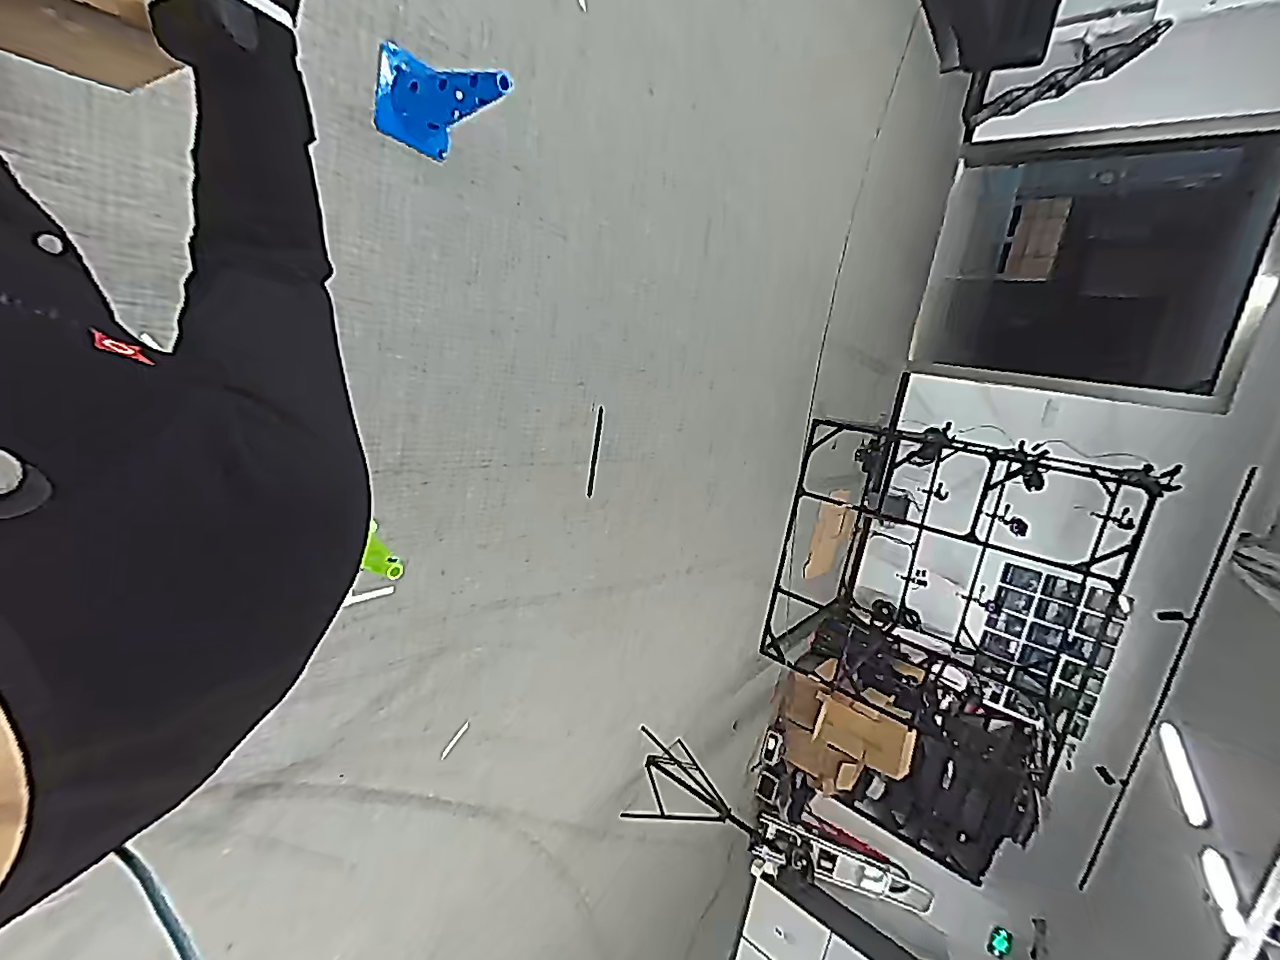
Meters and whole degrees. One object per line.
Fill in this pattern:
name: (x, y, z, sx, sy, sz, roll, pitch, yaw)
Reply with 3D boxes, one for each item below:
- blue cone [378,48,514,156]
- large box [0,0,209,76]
blue cone: (-0.444, -0.920, 1.293, 0.192, 0.380, 0.193, 0, 105, -55)
large box: (-0.524, -0.491, 0.284, 0.408, 0.320, 0.320, -9, 116, -51)
